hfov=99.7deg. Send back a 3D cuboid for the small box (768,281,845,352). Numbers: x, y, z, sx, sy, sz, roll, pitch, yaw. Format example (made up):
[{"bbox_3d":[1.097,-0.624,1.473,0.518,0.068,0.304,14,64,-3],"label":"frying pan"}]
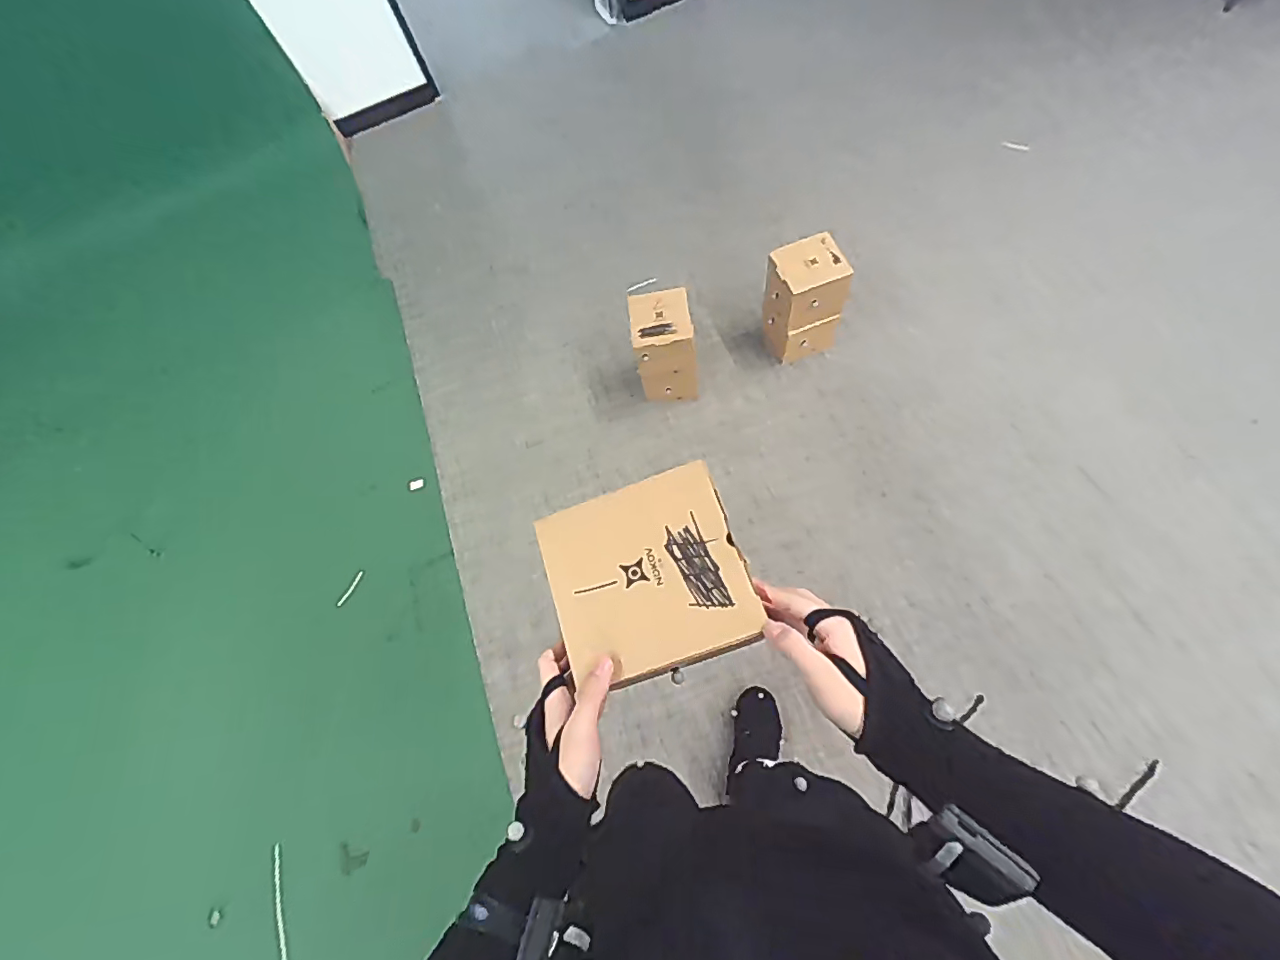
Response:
[{"bbox_3d":[0.506,-0.516,1.665,0.168,0.176,0.179,-20,68,1],"label":"small box"}]

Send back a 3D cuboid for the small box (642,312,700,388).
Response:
[{"bbox_3d":[0.101,-0.395,1.675,0.168,0.176,0.179,-1,69,8],"label":"small box"}]

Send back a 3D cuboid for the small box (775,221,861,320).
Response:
[{"bbox_3d":[0.488,-0.578,1.513,0.179,0.176,0.168,-18,69,2],"label":"small box"}]

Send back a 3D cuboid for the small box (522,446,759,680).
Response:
[{"bbox_3d":[0.006,0.090,0.540,0.179,0.176,0.168,-18,70,4],"label":"small box"}]
